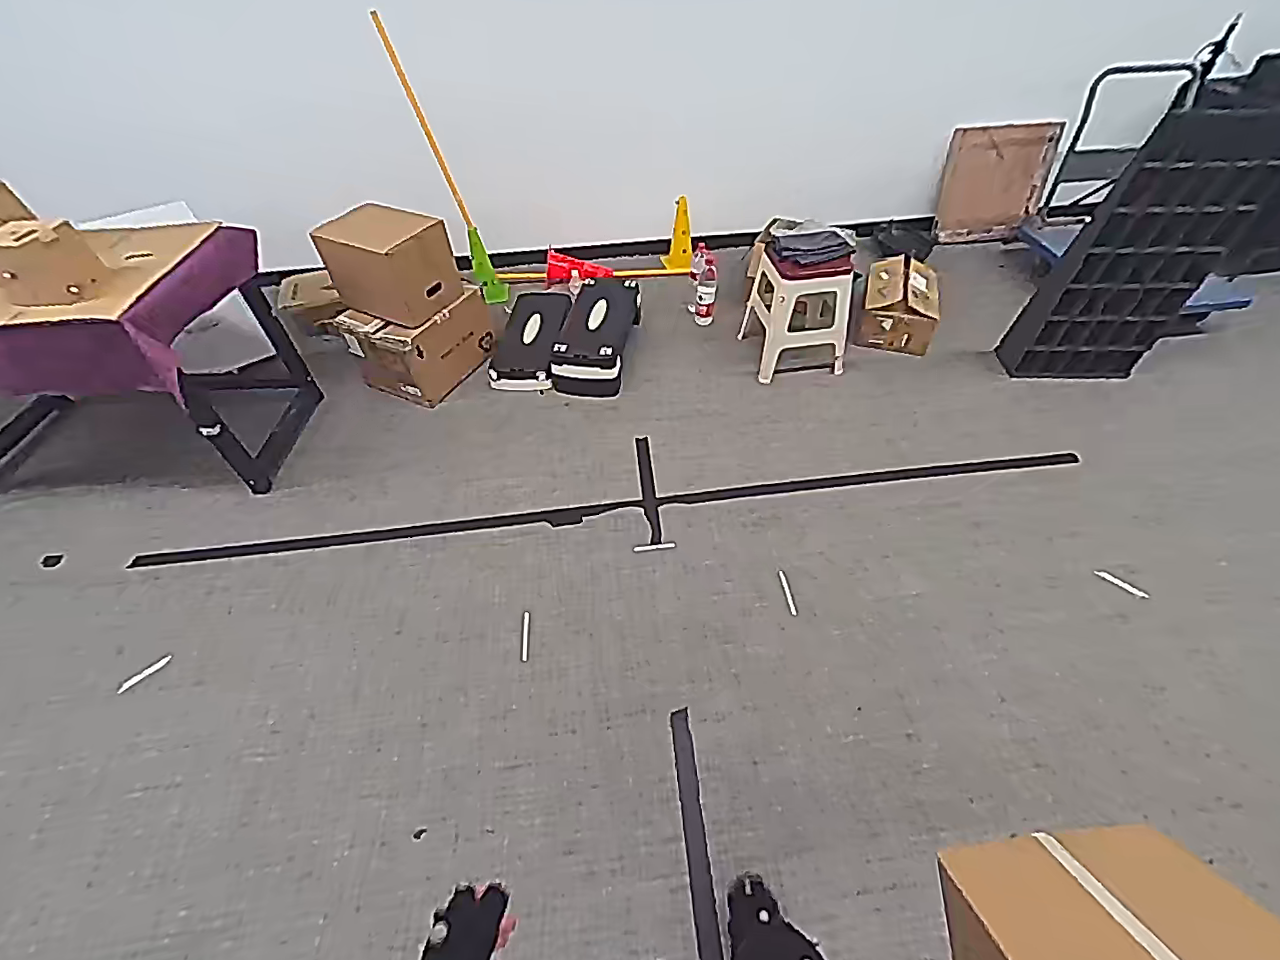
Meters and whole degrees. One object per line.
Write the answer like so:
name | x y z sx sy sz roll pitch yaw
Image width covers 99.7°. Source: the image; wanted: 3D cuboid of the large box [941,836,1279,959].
large box | 0.605 0.691 0.604 0.320 0.408 0.320 -8 91 3
